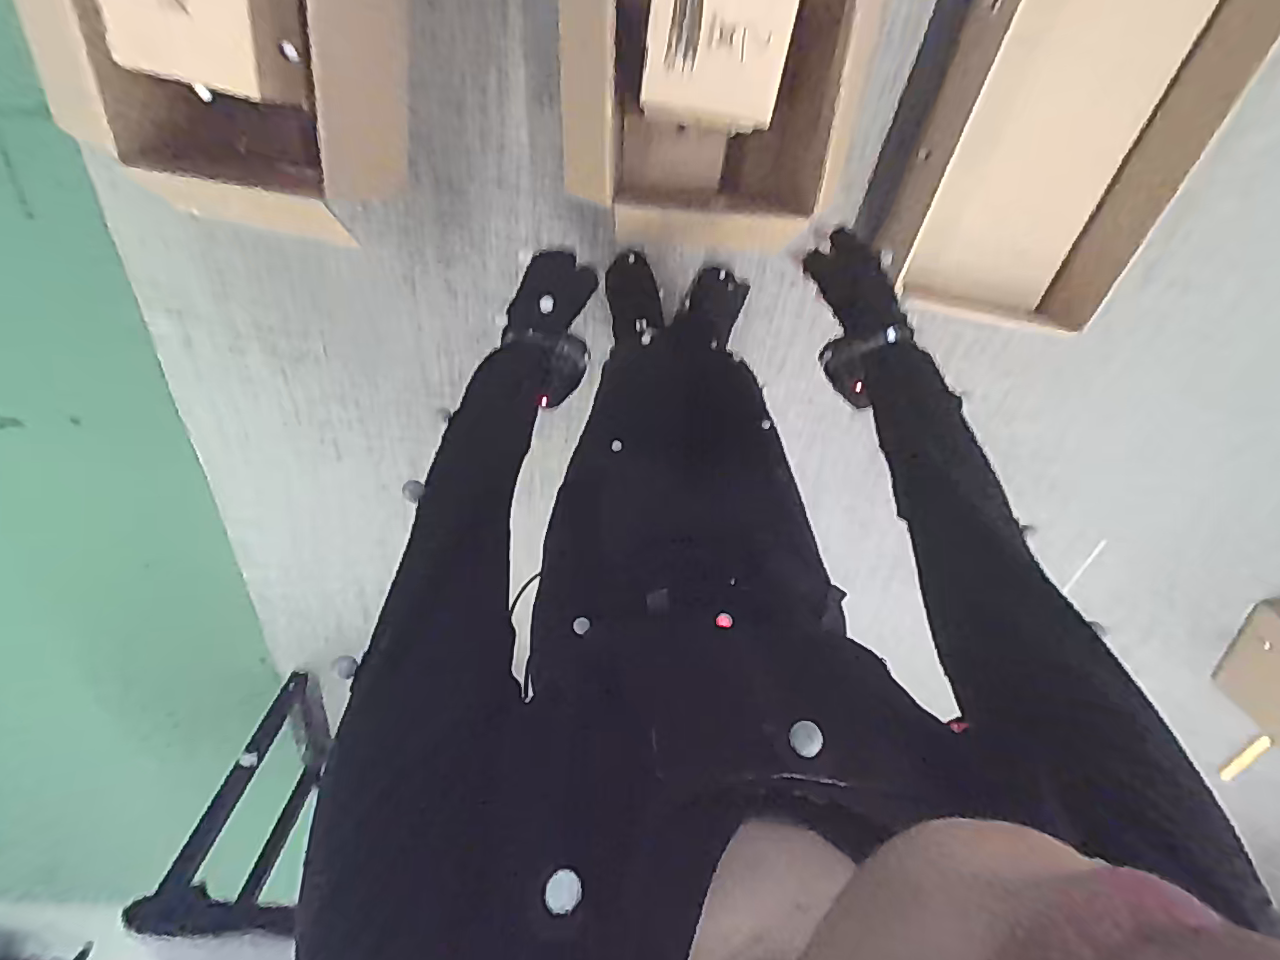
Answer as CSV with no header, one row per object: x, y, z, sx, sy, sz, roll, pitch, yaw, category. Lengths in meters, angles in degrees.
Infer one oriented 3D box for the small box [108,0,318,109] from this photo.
-0.559,-0.618,0.726,0.179,0.176,0.168,10,122,-8,small box
